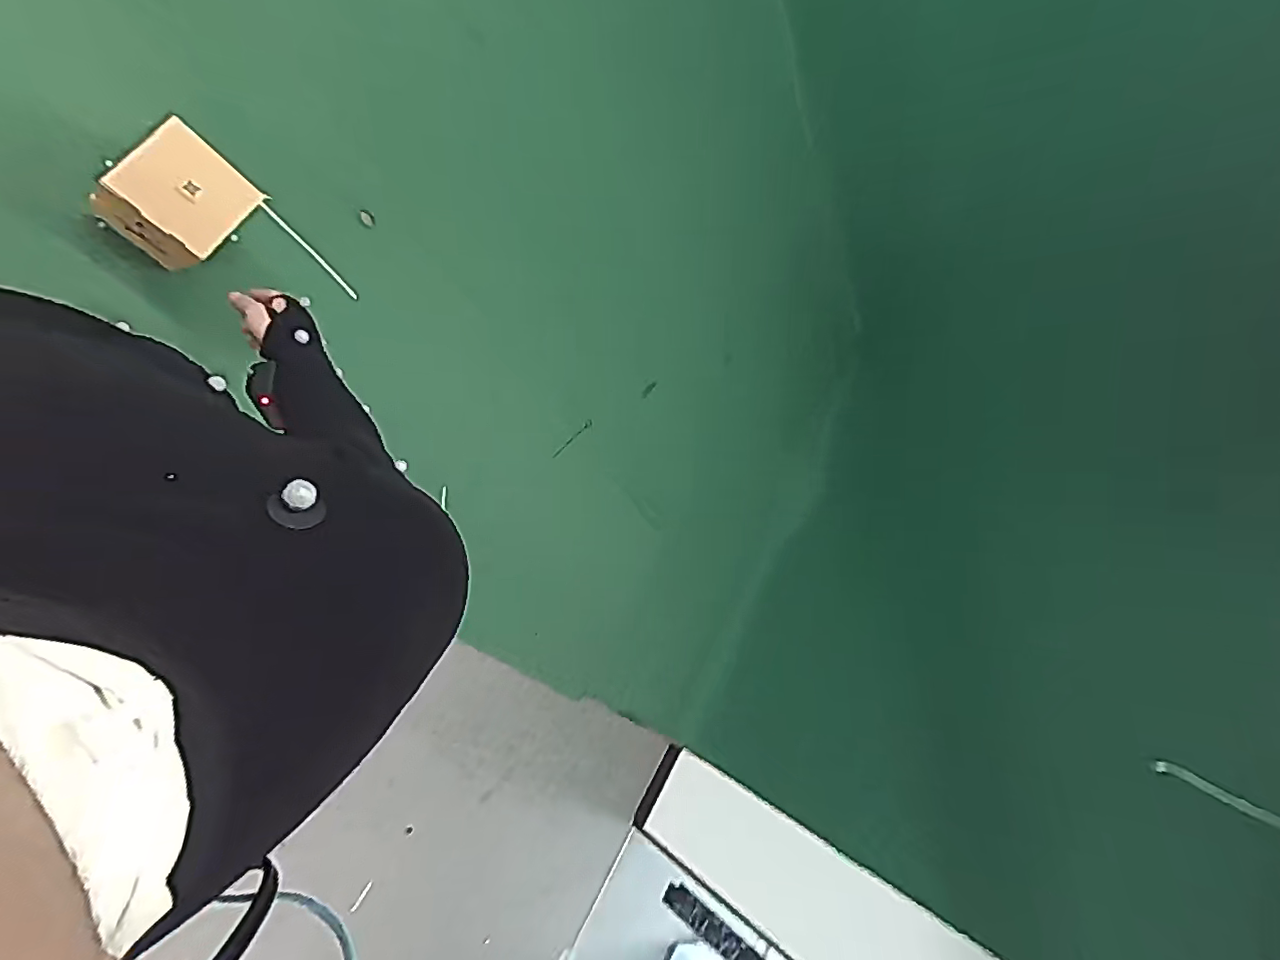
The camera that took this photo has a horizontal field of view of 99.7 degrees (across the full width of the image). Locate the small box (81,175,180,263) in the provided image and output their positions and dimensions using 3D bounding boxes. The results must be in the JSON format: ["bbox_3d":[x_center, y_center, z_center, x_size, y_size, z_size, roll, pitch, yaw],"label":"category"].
[{"bbox_3d":[-1.000,-0.576,1.124,0.168,0.176,0.179,48,66,-44],"label":"small box"}]

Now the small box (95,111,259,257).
[{"bbox_3d":[-0.877,-0.548,1.021,0.179,0.176,0.168,-59,137,-16],"label":"small box"}]
